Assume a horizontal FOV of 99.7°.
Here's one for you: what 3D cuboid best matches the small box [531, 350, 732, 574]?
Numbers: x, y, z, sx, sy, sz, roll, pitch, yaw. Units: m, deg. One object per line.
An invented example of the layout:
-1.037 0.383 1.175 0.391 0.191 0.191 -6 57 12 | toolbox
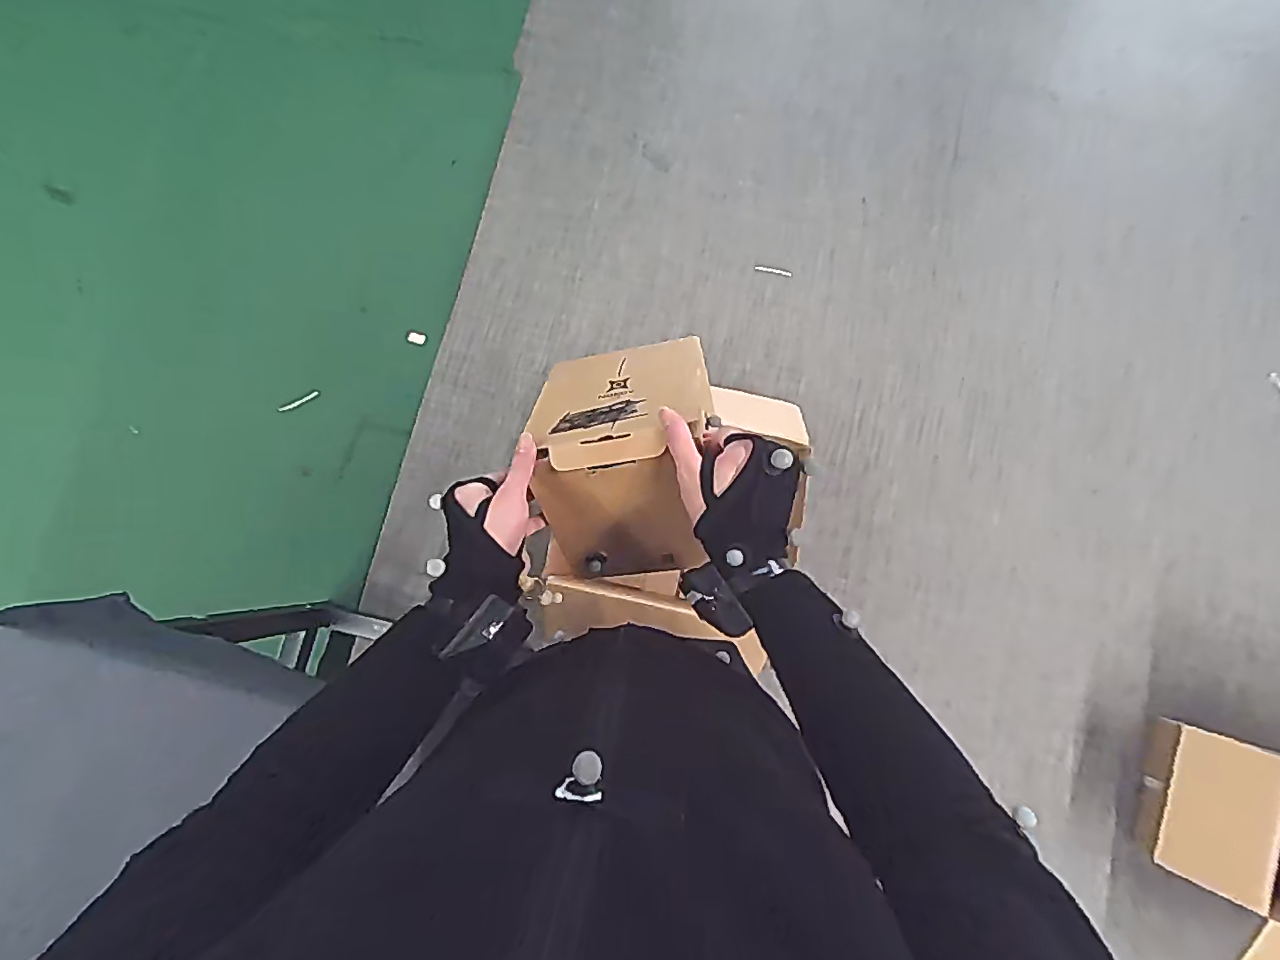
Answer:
0.005 -0.013 0.583 0.168 0.176 0.179 -7 39 12 | small box
